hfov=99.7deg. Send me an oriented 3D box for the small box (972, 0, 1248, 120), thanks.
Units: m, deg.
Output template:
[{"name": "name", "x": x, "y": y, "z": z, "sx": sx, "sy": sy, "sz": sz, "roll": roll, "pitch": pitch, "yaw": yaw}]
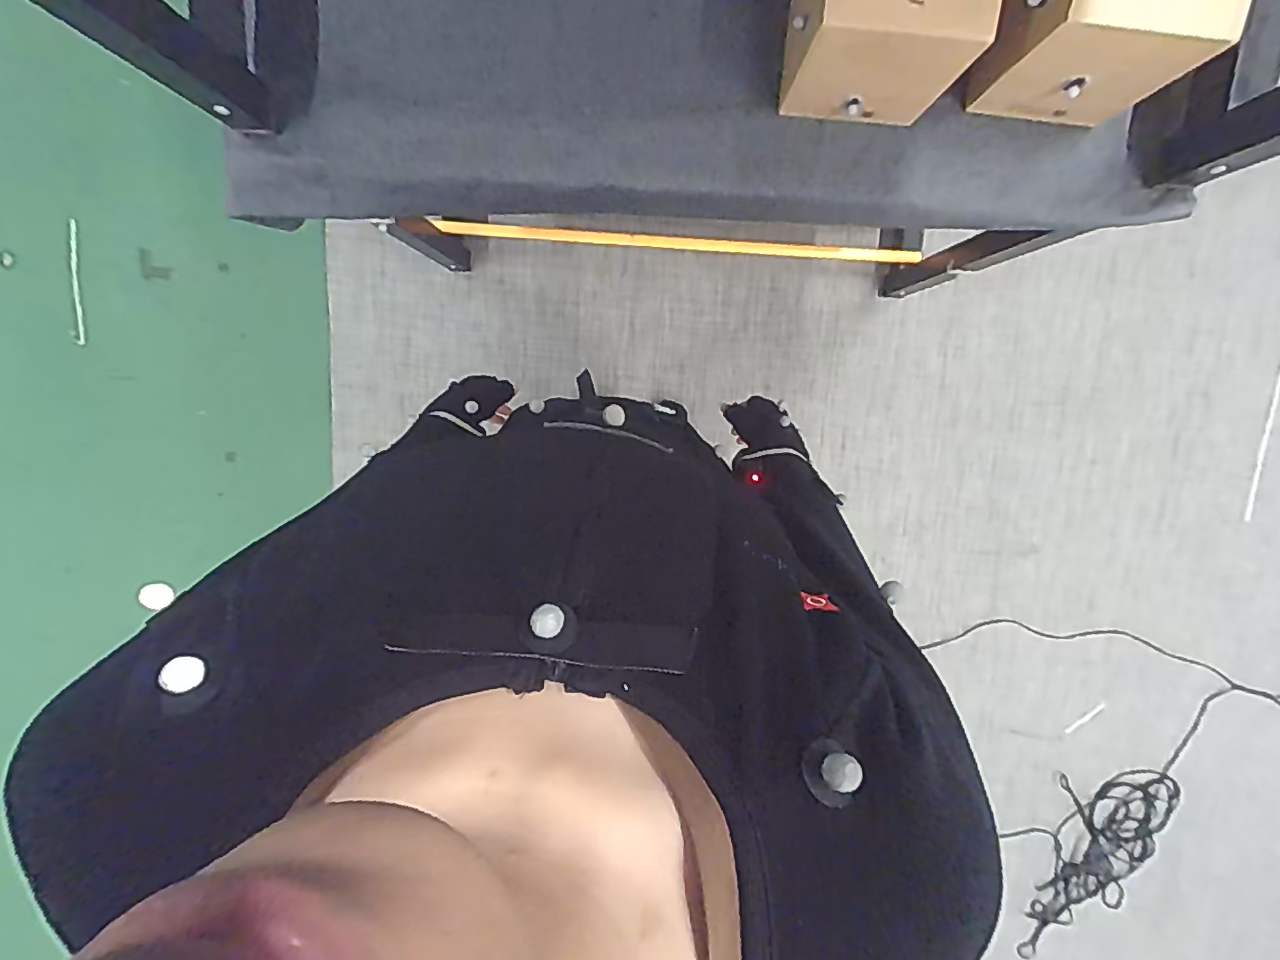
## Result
[{"name": "small box", "x": 0.489, "y": -0.517, "z": 0.572, "sx": 0.168, "sy": 0.176, "sz": 0.179, "roll": 7, "pitch": 99, "yaw": -1}]
